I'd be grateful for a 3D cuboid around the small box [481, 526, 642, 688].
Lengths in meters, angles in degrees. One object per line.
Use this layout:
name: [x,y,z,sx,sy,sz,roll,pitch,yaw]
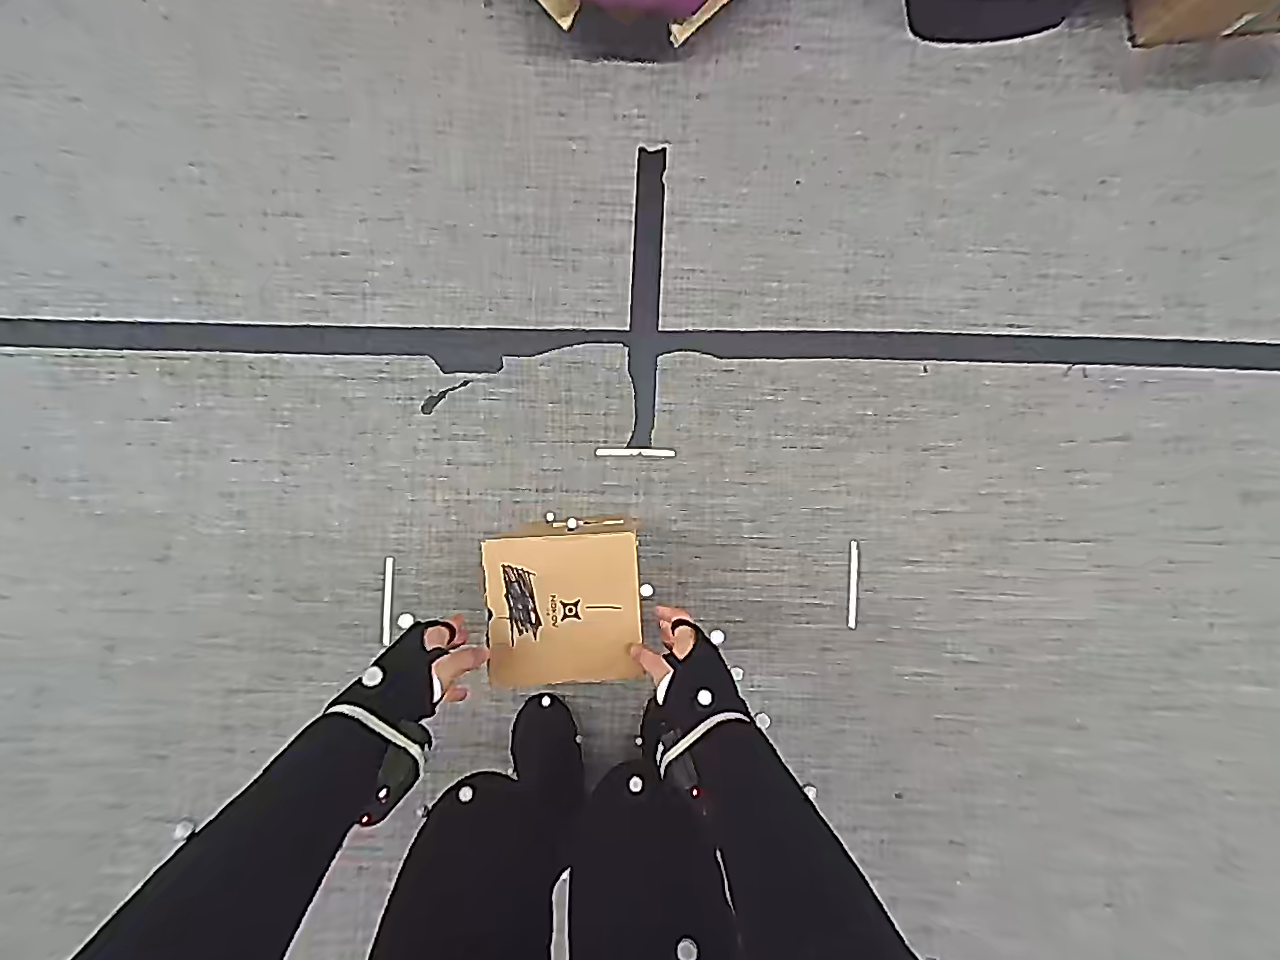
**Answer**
small box: [-0.088,0.148,0.682,0.179,0.176,0.168,-3,89,-1]
